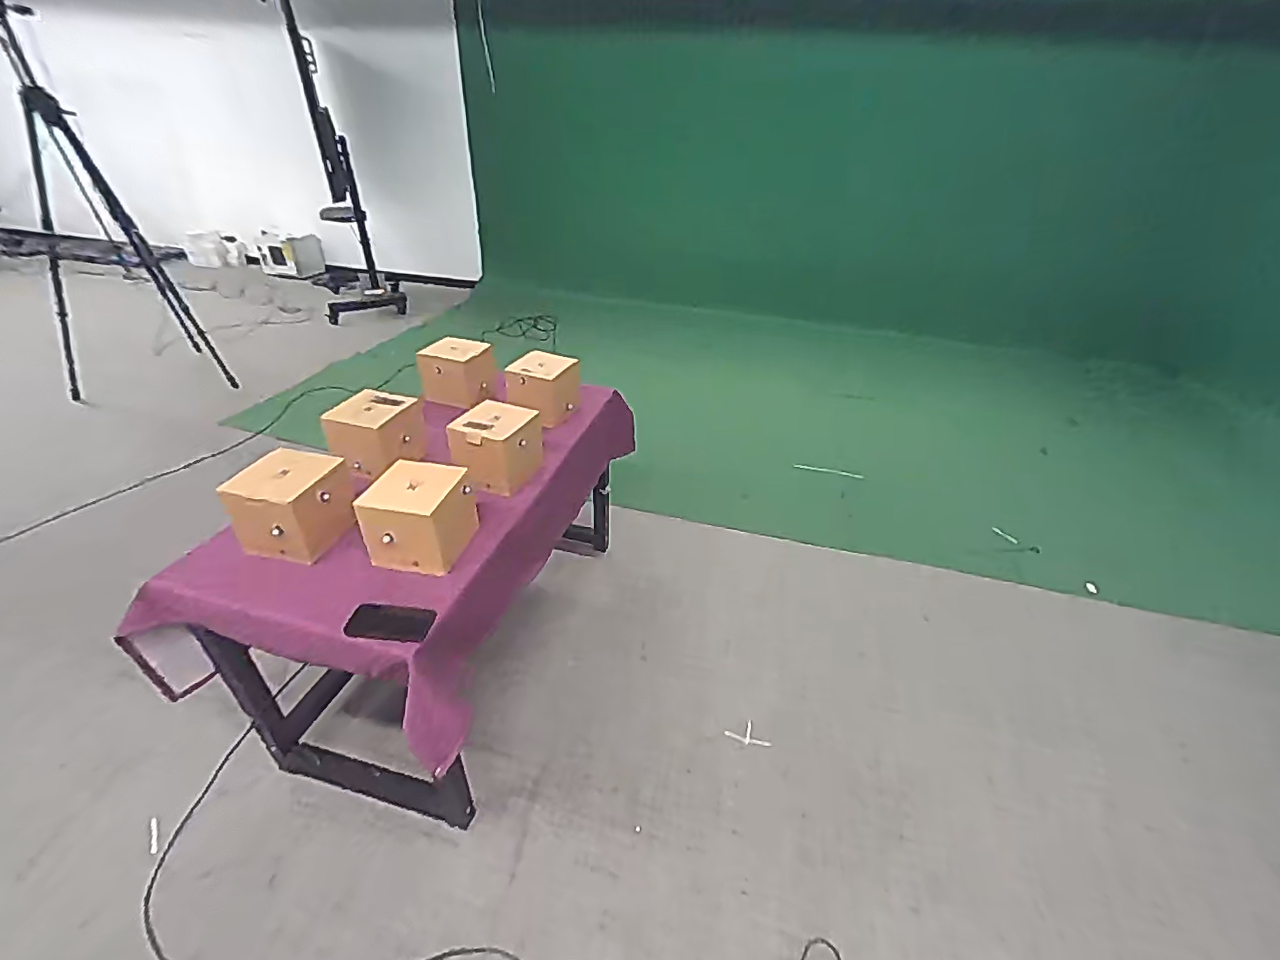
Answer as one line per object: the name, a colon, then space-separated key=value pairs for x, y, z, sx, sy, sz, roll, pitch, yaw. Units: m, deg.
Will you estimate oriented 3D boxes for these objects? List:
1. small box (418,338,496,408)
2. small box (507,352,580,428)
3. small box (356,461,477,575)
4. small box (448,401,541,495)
small box: x=-0.598 y=-0.354 z=1.786 sx=0.179 sy=0.176 sz=0.168 roll=14 pitch=36 yaw=14
small box: x=-0.301 y=-0.286 z=1.711 sx=0.168 sy=0.176 sz=0.179 roll=15 pitch=35 yaw=17
small box: x=-0.464 y=0.080 z=1.158 sx=0.168 sy=0.176 sz=0.179 roll=7 pitch=33 yaw=7
small box: x=-0.367 y=-0.084 z=1.407 sx=0.168 sy=0.176 sz=0.179 roll=14 pitch=35 yaw=16
